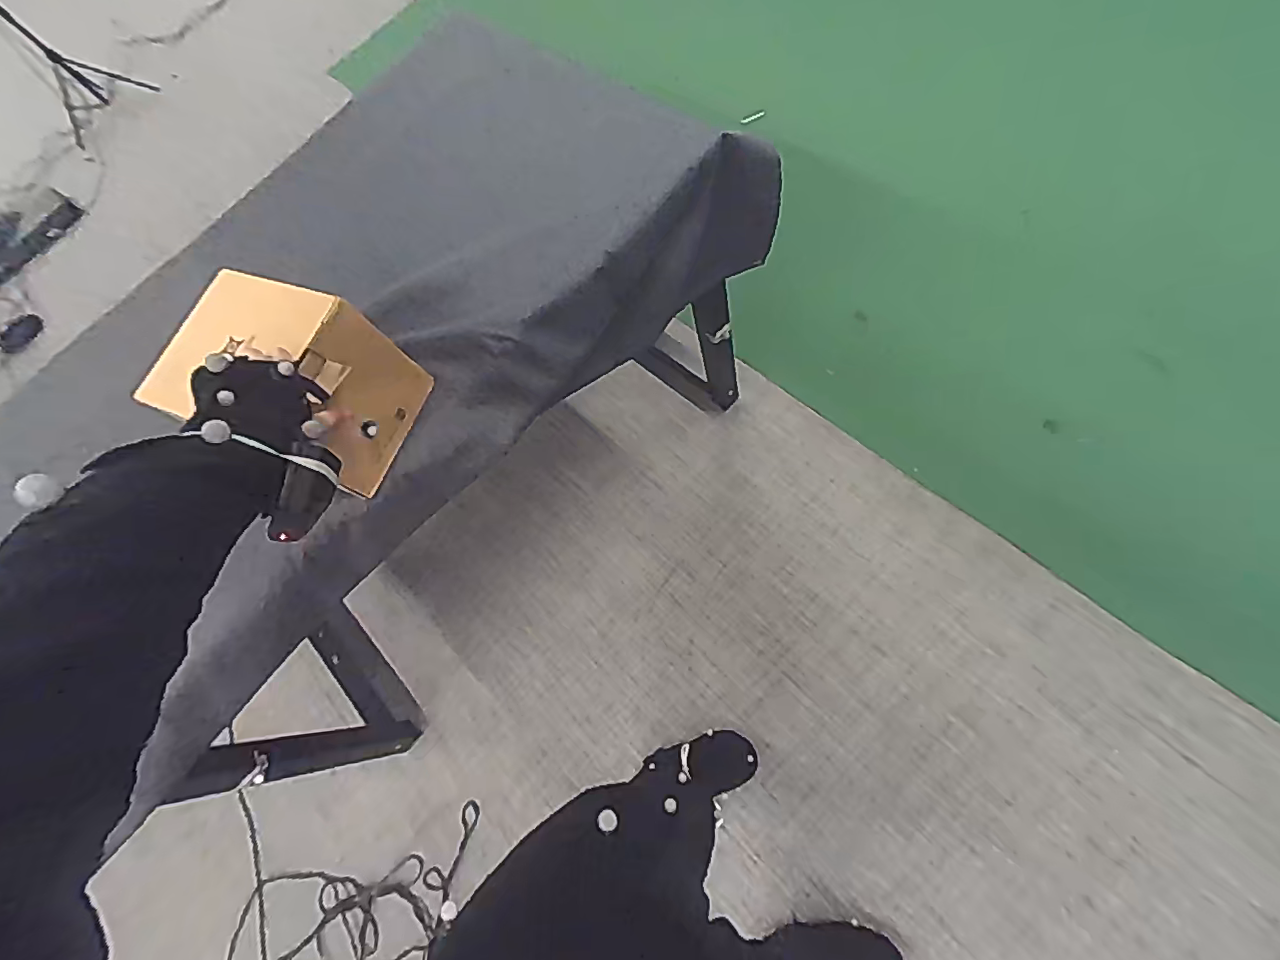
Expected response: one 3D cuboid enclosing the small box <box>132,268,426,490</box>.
[{"bbox_3d":[-0.385,-0.104,0.606,0.179,0.176,0.168,18,76,18],"label":"small box"}]
